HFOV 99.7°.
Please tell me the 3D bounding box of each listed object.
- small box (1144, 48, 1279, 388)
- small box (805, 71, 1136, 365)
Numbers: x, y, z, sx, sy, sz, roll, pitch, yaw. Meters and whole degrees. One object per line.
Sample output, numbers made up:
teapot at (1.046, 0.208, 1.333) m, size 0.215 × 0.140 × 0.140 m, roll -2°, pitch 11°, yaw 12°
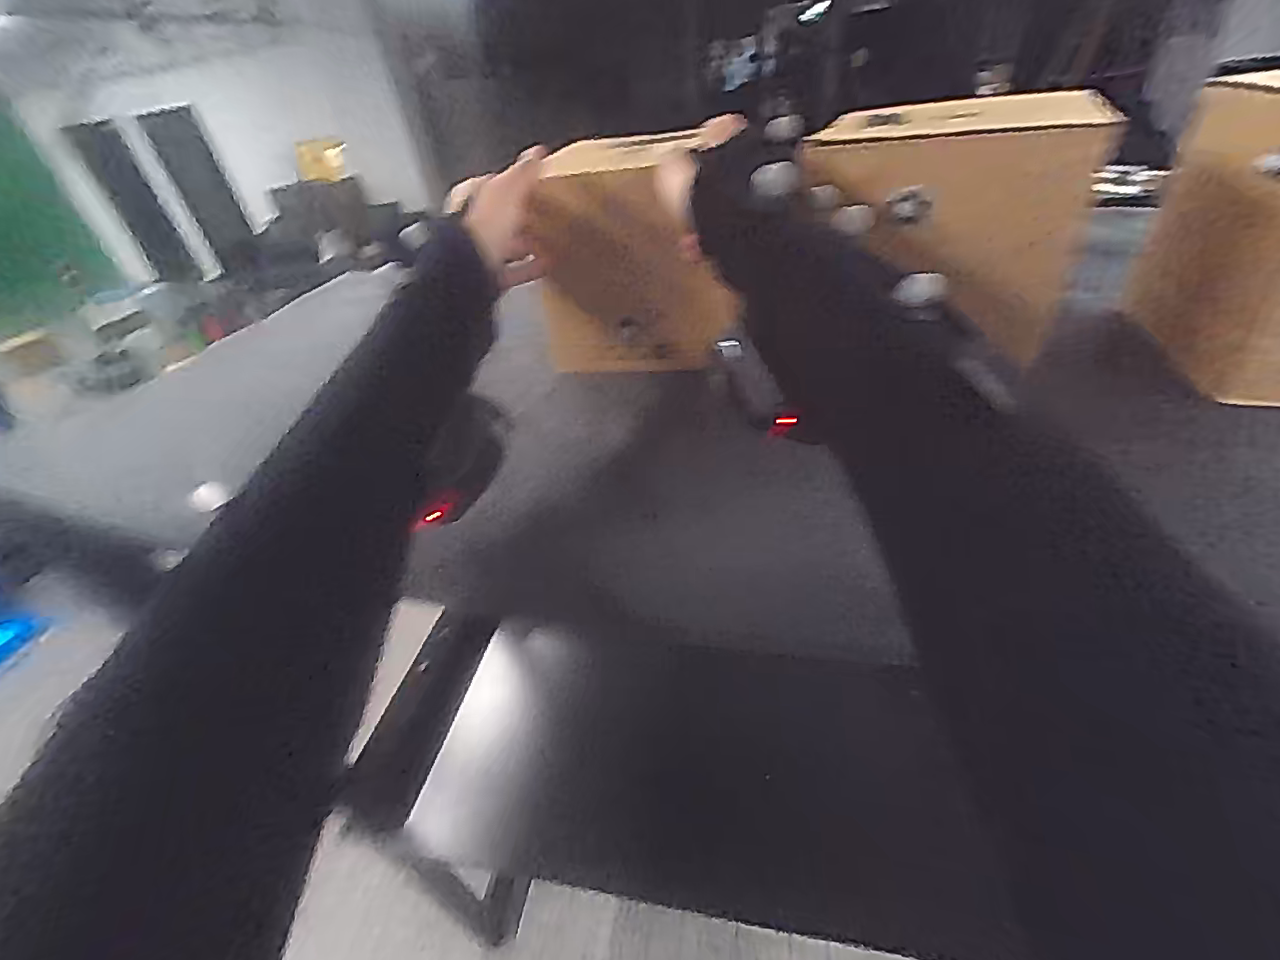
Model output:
small box at (0.466, -0.165, 0.330) m, size 0.168 × 0.176 × 0.179 m, roll 5°, pitch 39°, yaw 18°
small box at (0.238, -0.205, 0.428) m, size 0.179 × 0.176 × 0.168 m, roll 13°, pitch 42°, yaw 26°
